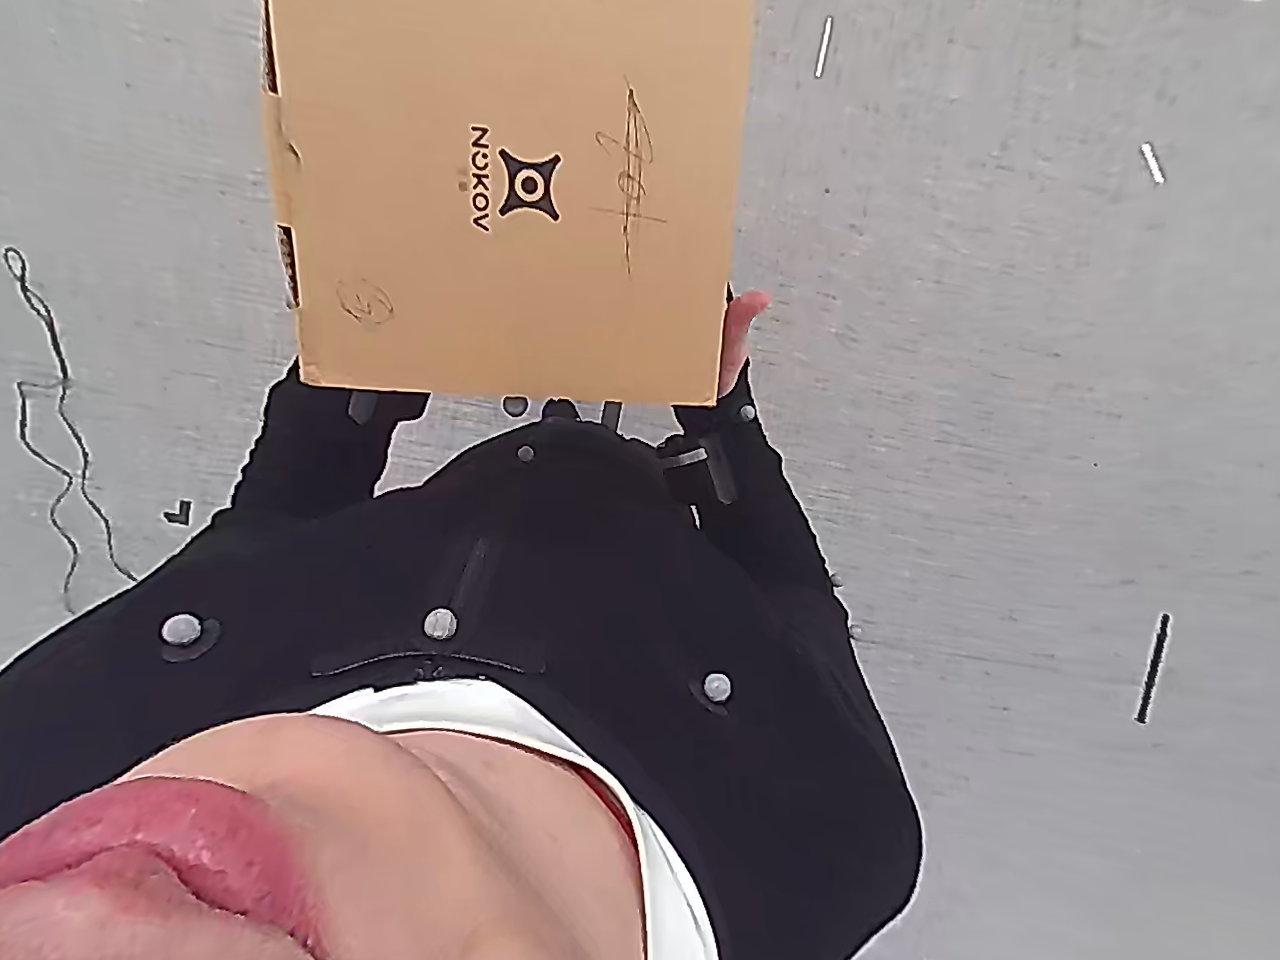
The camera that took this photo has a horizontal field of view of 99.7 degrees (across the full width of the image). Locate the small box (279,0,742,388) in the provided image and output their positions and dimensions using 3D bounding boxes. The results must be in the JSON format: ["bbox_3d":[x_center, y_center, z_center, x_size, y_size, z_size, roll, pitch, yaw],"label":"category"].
[{"bbox_3d":[-0.061,-0.146,0.299,0.179,0.176,0.168,2,106,-9],"label":"small box"}]
